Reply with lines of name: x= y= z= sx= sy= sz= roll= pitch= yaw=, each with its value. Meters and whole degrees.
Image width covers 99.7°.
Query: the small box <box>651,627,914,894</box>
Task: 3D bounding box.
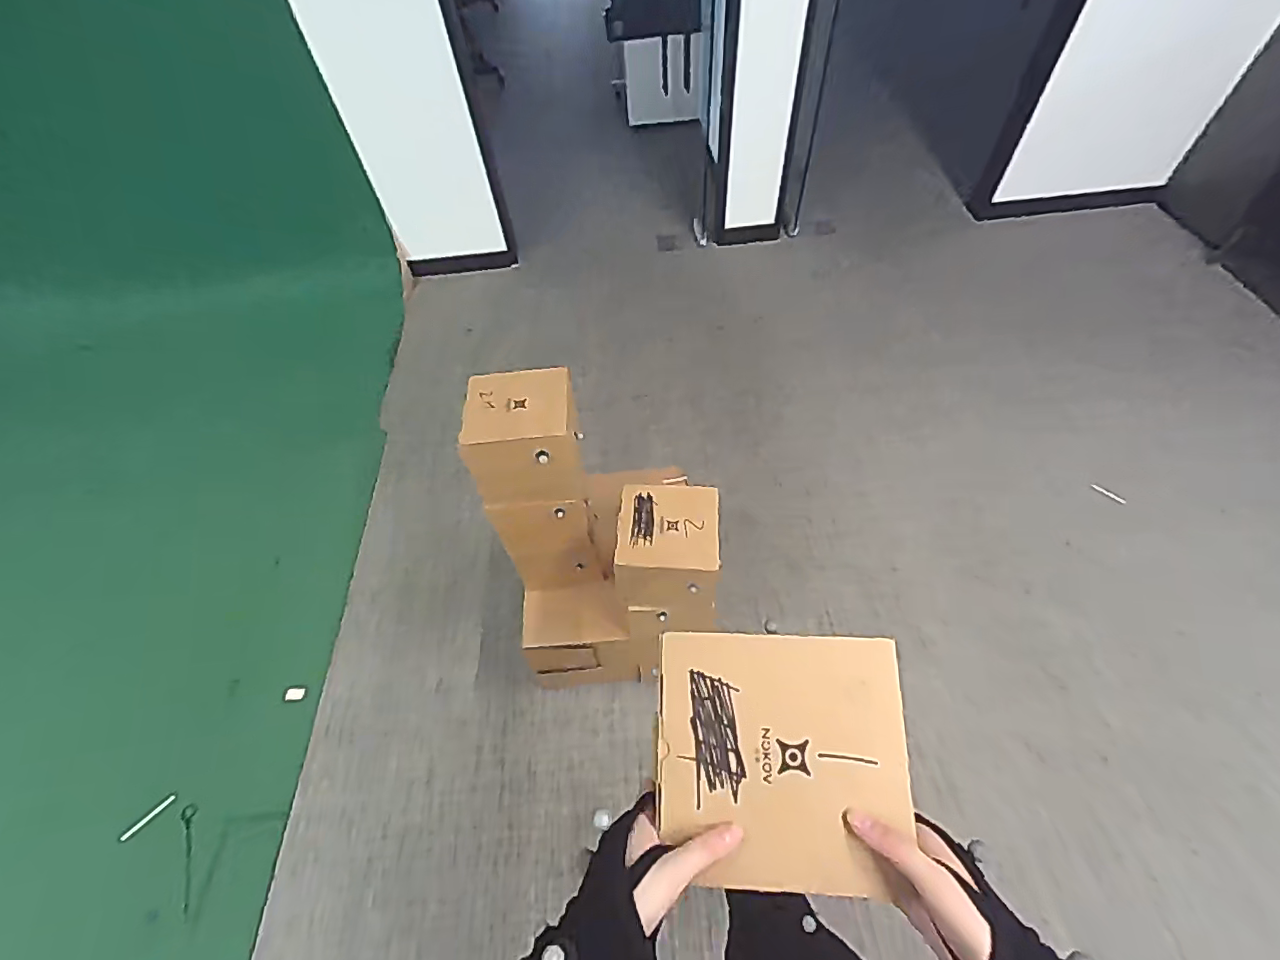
small box: x=0.104 y=0.219 z=0.462 sx=0.179 sy=0.176 sz=0.168 roll=1 pitch=71 yaw=4

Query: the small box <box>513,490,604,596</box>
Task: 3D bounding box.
small box: x=-0.177 y=0.144 z=1.218 sx=0.179 sy=0.176 sz=0.168 roll=-8 pitch=51 yaw=0

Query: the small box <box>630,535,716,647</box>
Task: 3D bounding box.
small box: x=0.065 y=0.233 z=1.128 sx=0.168 sy=0.176 sz=0.179 roll=-2 pitch=53 yaw=2

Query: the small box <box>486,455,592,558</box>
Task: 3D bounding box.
small box: x=-0.195 y=0.044 z=1.092 sx=0.179 sy=0.176 sz=0.168 roll=-6 pitch=51 yaw=-1

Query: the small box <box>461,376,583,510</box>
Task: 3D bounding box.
small box: x=-0.198 y=-0.062 z=0.965 sx=0.179 sy=0.176 sz=0.168 roll=-6 pitch=51 yaw=1
